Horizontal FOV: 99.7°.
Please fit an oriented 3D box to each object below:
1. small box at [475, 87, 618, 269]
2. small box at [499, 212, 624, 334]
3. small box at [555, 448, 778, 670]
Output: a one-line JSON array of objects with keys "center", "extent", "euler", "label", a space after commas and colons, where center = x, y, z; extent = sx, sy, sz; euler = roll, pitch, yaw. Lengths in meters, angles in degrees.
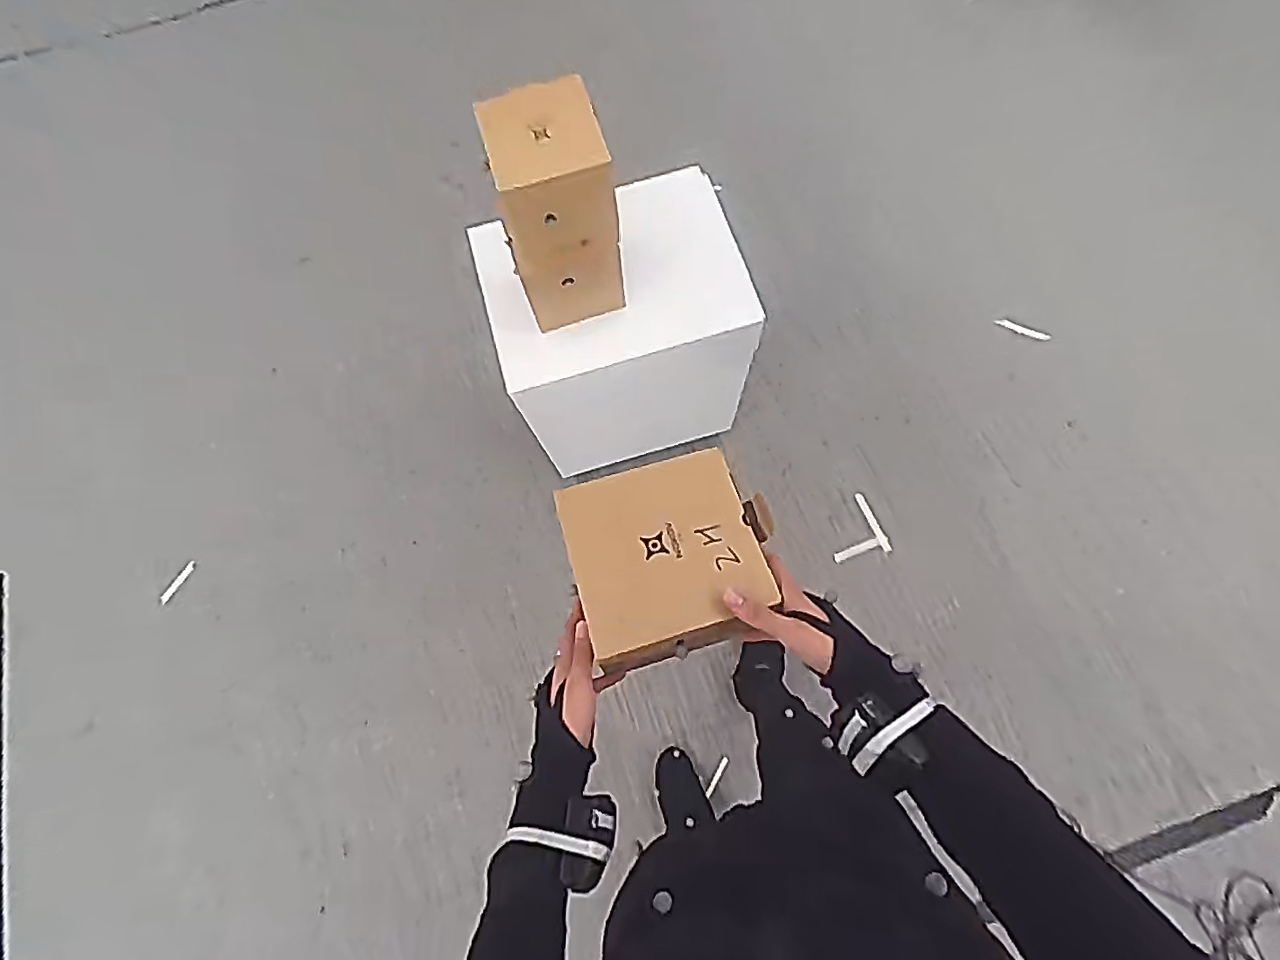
[{"center": [-0.138, -0.460, 0.852], "extent": [0.168, 0.176, 0.179], "euler": [-17, 73, -3], "label": "small box"}, {"center": [-0.138, -0.398, 1.003], "extent": [0.179, 0.176, 0.168], "euler": [-18, 73, -4], "label": "small box"}, {"center": [0.021, 0.093, 0.581], "extent": [0.179, 0.176, 0.168], "euler": [-15, 66, -8], "label": "small box"}]
